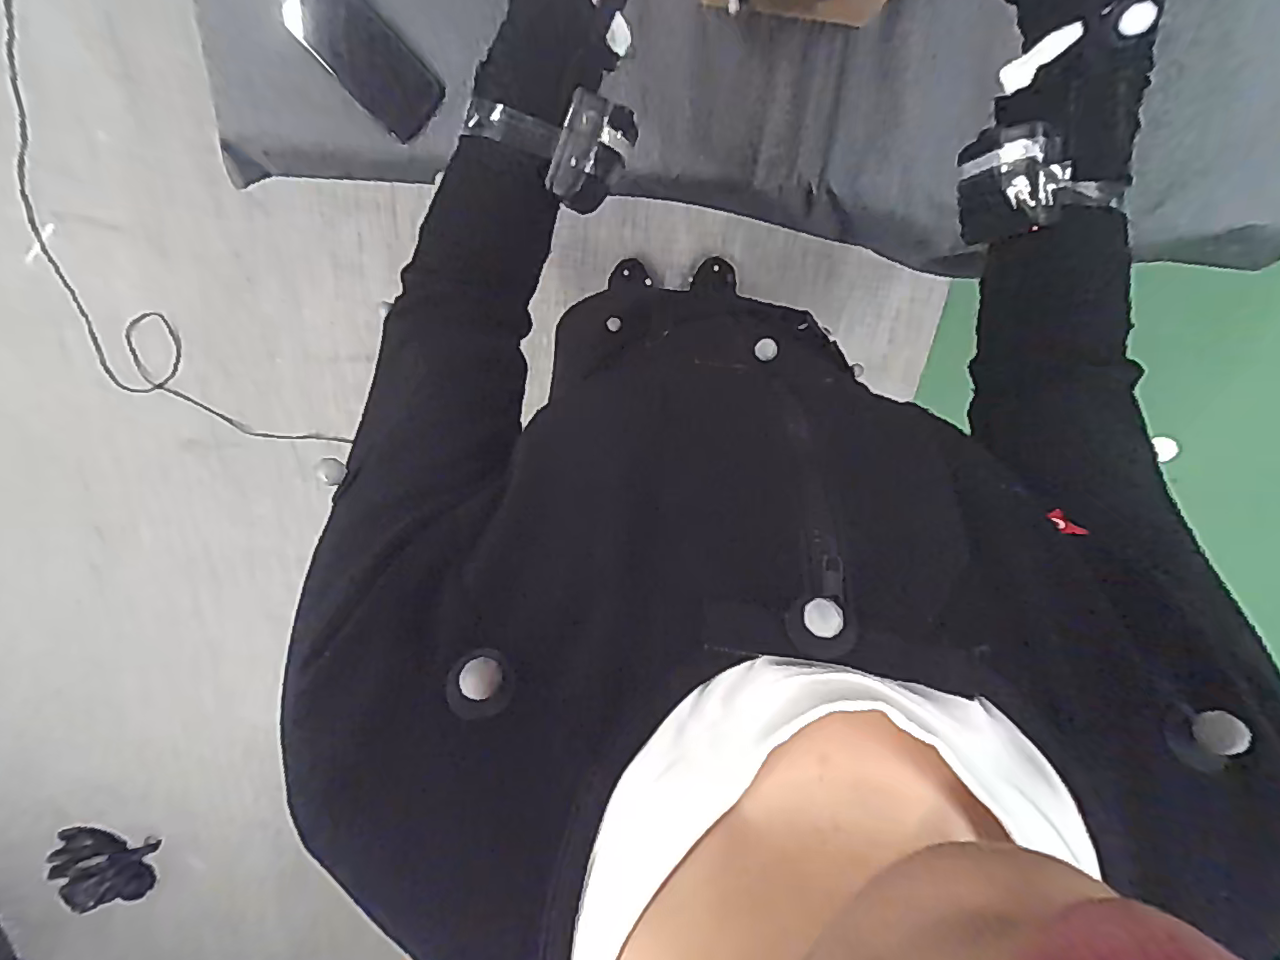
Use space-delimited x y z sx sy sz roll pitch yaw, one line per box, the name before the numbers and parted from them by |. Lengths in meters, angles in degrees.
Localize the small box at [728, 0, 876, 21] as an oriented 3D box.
small box | 0.146 -0.505 0.426 0.168 0.176 0.179 7 112 -1
